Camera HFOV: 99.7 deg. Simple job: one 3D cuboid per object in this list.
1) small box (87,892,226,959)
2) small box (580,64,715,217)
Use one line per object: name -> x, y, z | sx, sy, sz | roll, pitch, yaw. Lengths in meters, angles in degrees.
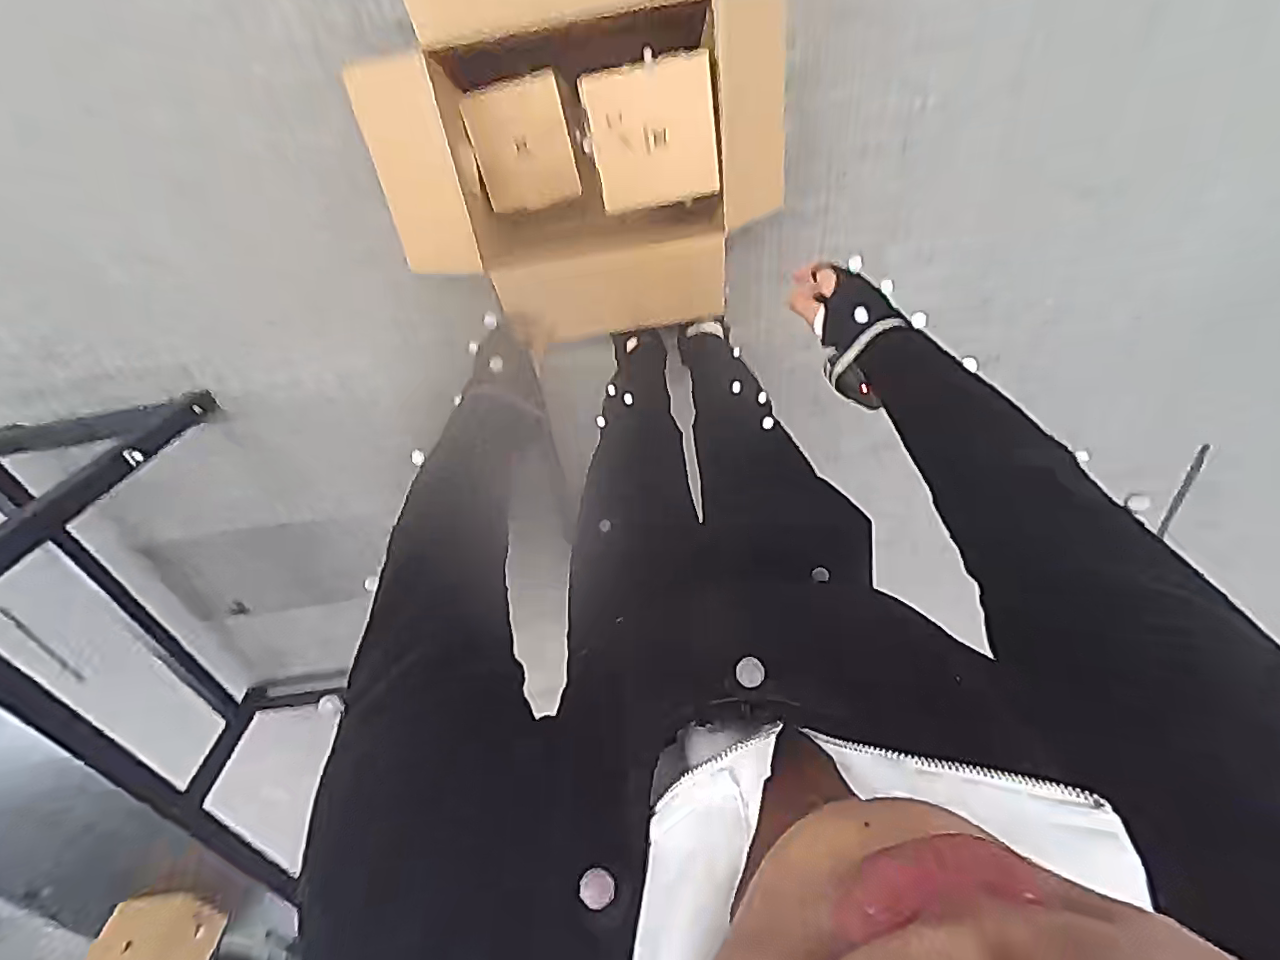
small box -> -1.131, 1.094, 1.258 | 0.179, 0.176, 0.168 | -10, 125, 4
small box -> 0.009, -0.525, 0.838 | 0.179, 0.176, 0.168 | -10, 124, 3
